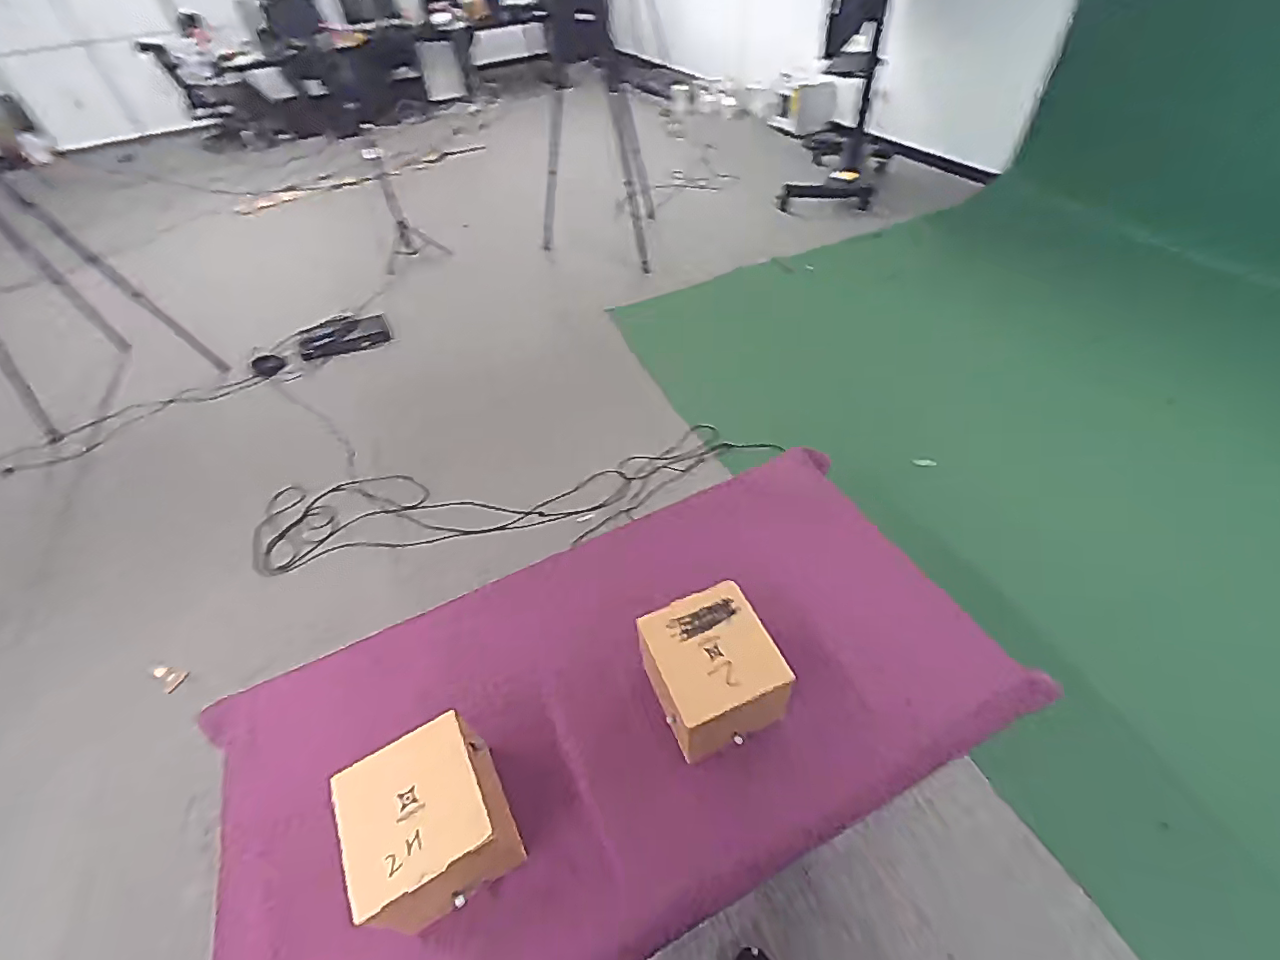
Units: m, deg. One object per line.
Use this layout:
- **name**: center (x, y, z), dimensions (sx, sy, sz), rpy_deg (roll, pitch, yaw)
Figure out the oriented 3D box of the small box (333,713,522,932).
- **small box**: center (-0.279, 0.458, 0.724), dimensions (0.168, 0.176, 0.179), rpy_deg (-26, 49, -17)
